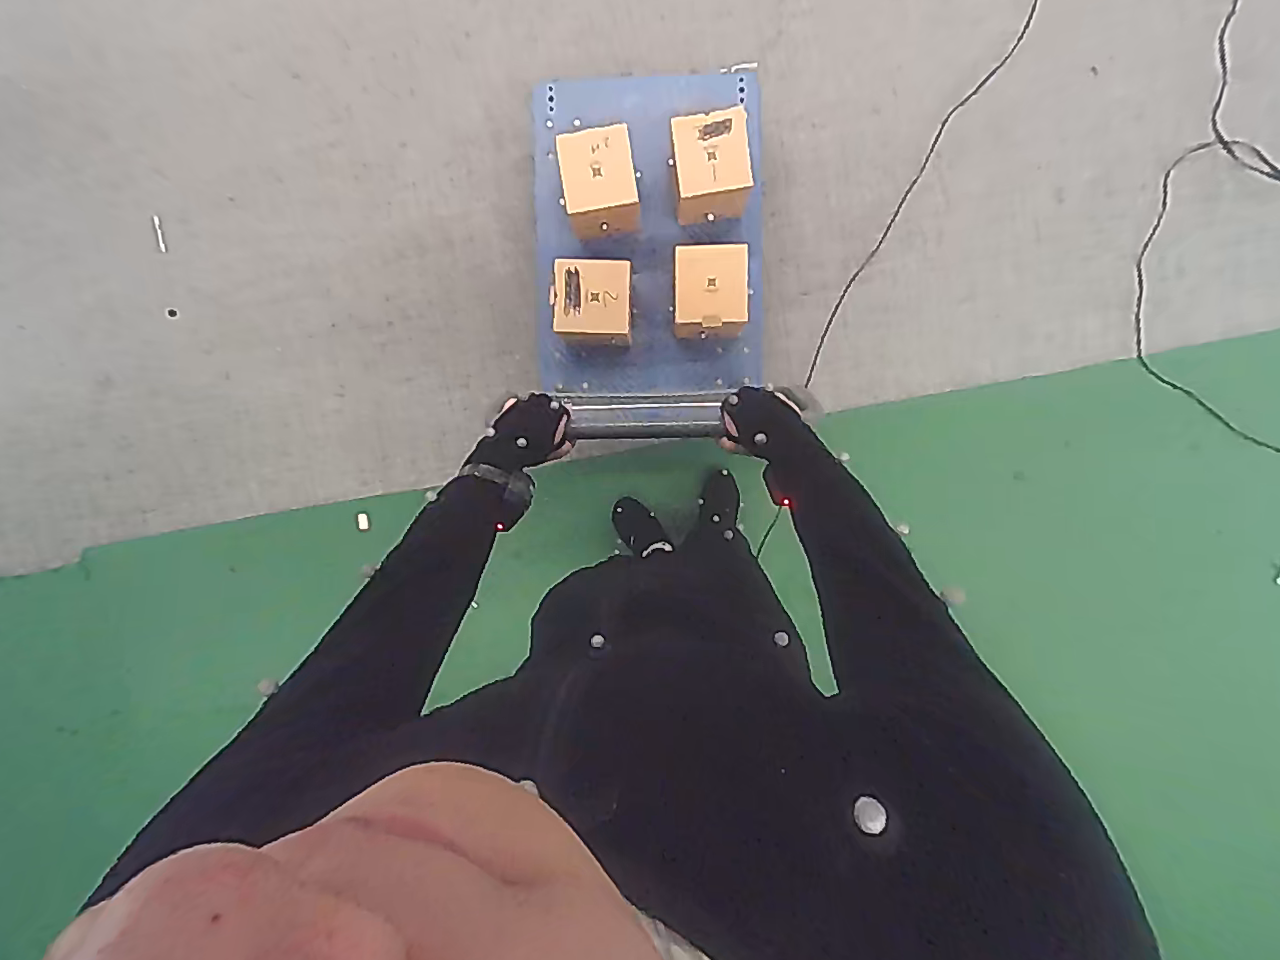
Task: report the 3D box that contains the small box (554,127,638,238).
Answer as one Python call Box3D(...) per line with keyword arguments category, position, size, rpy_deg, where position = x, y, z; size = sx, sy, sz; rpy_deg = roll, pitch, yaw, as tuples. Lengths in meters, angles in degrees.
Box3D(category="small box", position=(-0.098, -0.699, 1.293), size=(0.168, 0.176, 0.179), rpy_deg=(-9, 94, 1))

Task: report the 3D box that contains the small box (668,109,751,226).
Box3D(category="small box", position=(0.159, -0.732, 1.283), size=(0.168, 0.176, 0.179), rpy_deg=(-8, 95, 3))

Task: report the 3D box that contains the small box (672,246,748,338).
Box3D(category="small box", position=(0.164, -0.447, 1.306), size=(0.168, 0.176, 0.179), rpy_deg=(-1, 95, 2))
